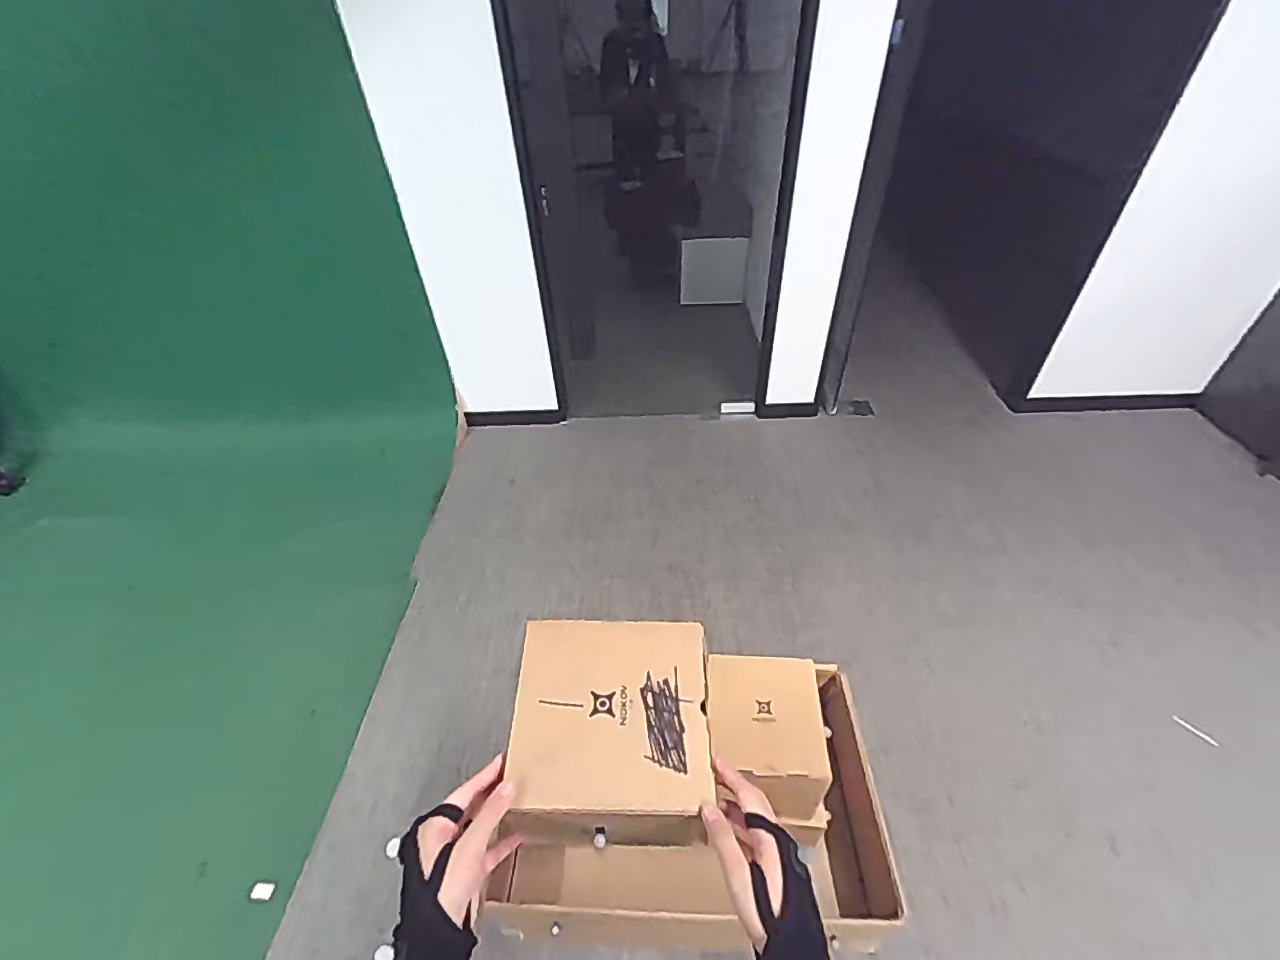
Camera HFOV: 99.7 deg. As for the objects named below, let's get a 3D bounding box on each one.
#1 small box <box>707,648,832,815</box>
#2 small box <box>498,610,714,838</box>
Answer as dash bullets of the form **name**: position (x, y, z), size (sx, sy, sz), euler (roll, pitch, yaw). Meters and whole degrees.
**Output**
- **small box**: position (0.186, 0.387, 0.838), size (0.168, 0.176, 0.179), euler (1, 42, 6)
- **small box**: position (-0.028, 0.247, 0.542), size (0.179, 0.176, 0.168), euler (1, 48, 0)
